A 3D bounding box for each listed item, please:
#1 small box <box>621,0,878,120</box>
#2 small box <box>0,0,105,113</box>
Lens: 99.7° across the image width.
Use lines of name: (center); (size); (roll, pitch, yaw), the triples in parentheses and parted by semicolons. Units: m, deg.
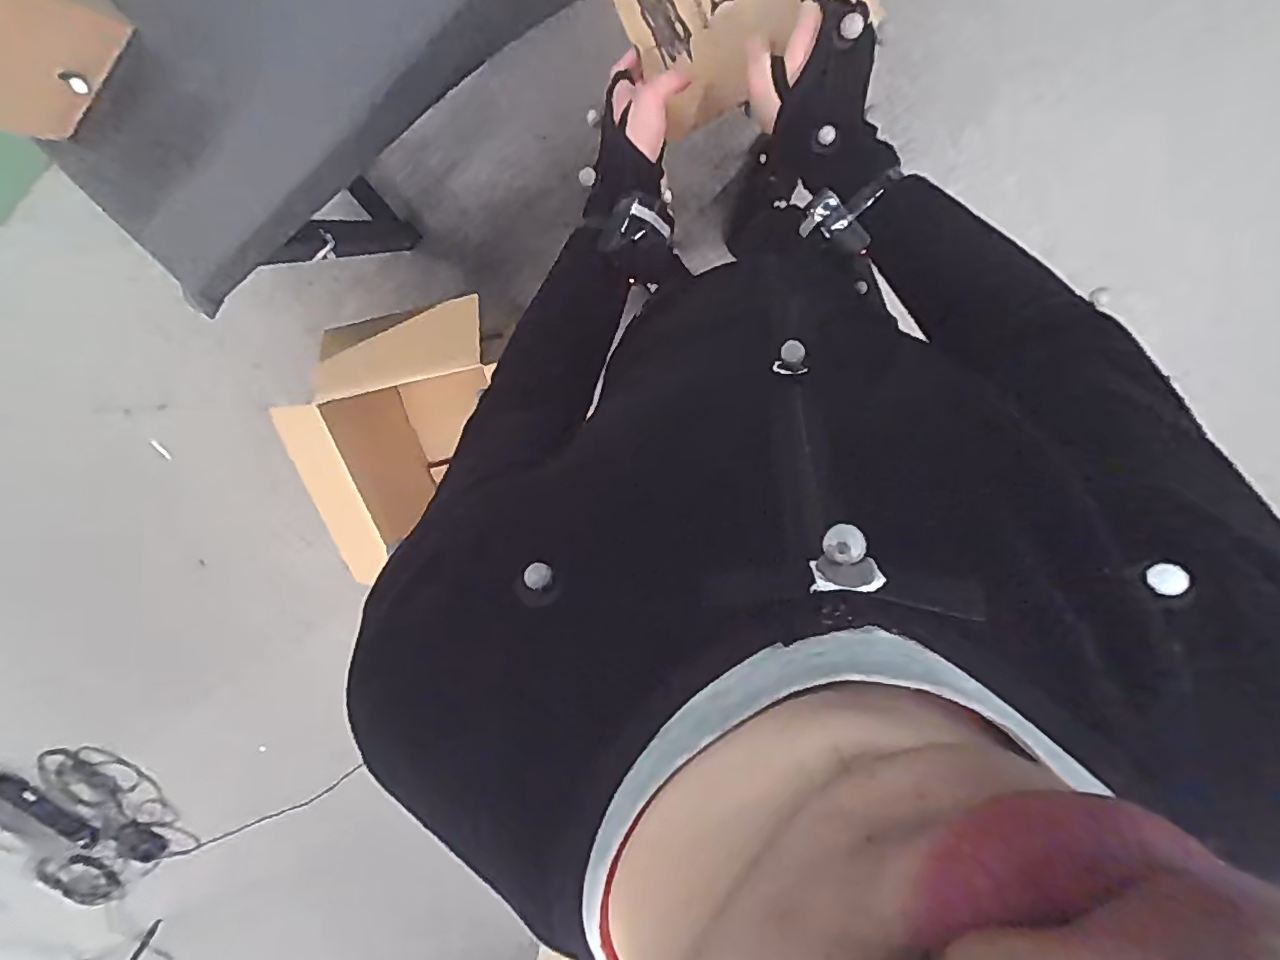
small box: (0.097, -0.461, 0.483); (0.179, 0.176, 0.168); (-1, 128, 39)
small box: (-0.696, -0.506, 0.526); (0.179, 0.176, 0.168); (-38, 109, 16)
